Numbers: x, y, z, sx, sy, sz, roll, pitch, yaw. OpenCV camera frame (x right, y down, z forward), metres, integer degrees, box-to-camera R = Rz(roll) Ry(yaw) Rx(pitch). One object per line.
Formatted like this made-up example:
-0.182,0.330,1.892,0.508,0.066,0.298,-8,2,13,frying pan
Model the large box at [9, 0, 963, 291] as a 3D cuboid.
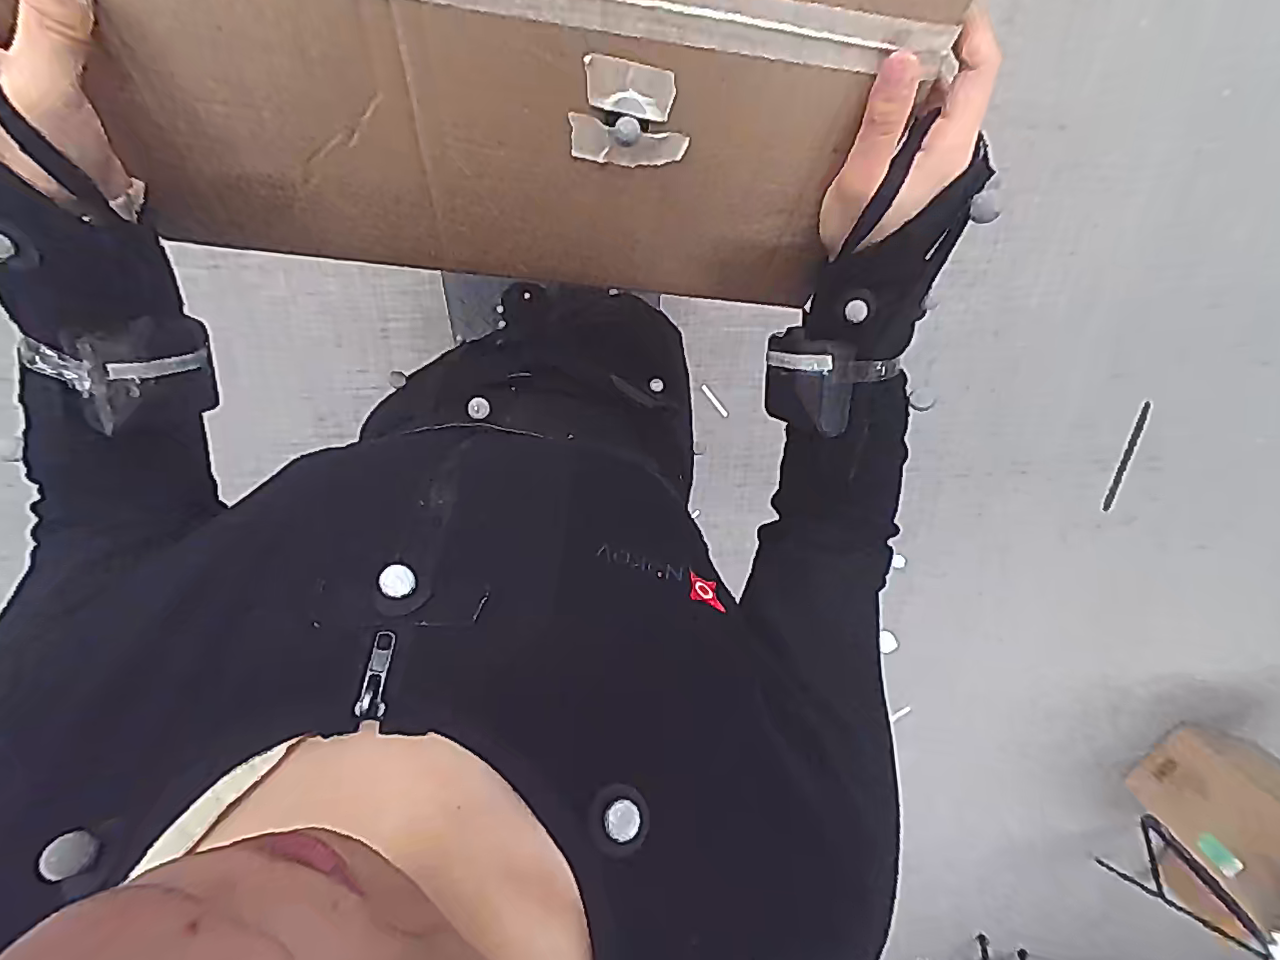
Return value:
-0.066,-0.340,0.291,0.408,0.320,0.320,2,155,-8,large box
